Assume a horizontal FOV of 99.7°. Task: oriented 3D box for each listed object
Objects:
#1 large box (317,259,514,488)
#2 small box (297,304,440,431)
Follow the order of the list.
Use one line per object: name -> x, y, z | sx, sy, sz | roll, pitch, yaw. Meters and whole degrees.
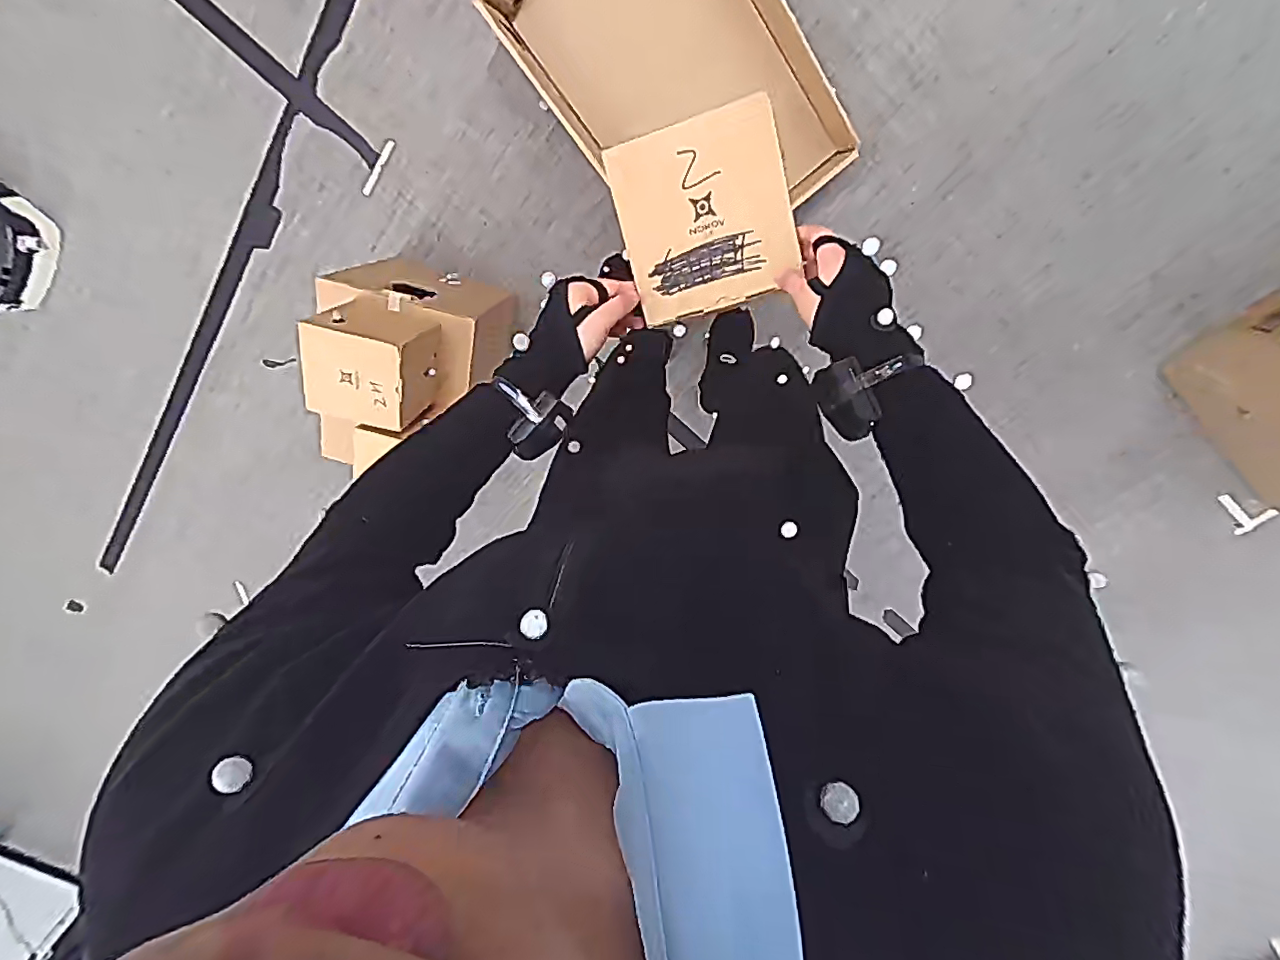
large box -> -0.499, -0.256, 1.259 | 0.320, 0.320, 0.408 | 15, 120, -2
small box -> -0.493, -0.214, 1.000 | 0.179, 0.176, 0.168 | 13, 120, -3
